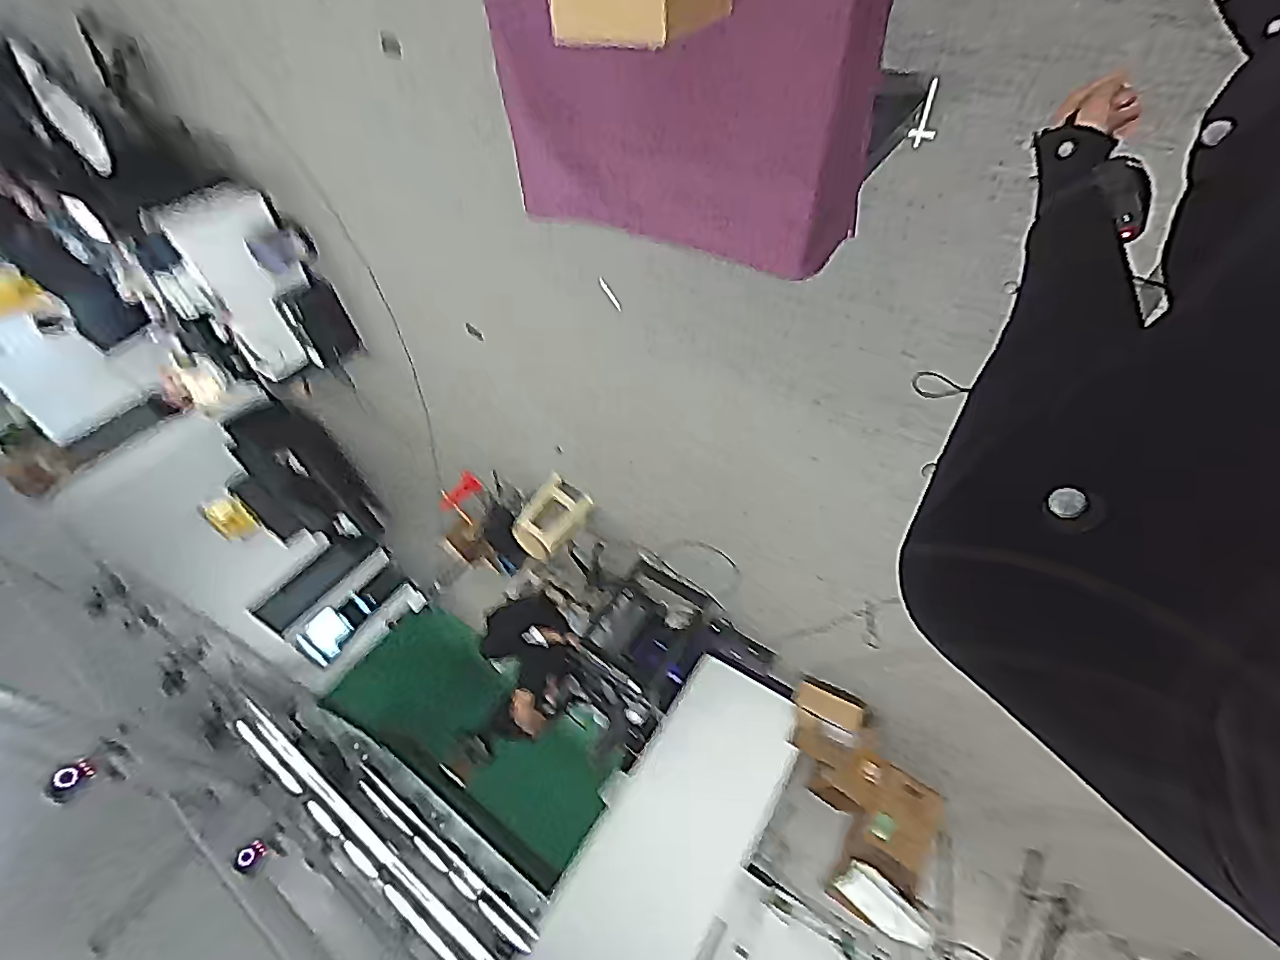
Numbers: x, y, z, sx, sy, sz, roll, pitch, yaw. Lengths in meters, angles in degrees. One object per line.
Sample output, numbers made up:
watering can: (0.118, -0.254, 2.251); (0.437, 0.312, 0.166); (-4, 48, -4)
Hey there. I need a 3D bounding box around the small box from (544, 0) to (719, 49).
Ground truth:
small box: (-0.007, -0.645, 0.650); (0.179, 0.176, 0.168); (25, 146, 25)
